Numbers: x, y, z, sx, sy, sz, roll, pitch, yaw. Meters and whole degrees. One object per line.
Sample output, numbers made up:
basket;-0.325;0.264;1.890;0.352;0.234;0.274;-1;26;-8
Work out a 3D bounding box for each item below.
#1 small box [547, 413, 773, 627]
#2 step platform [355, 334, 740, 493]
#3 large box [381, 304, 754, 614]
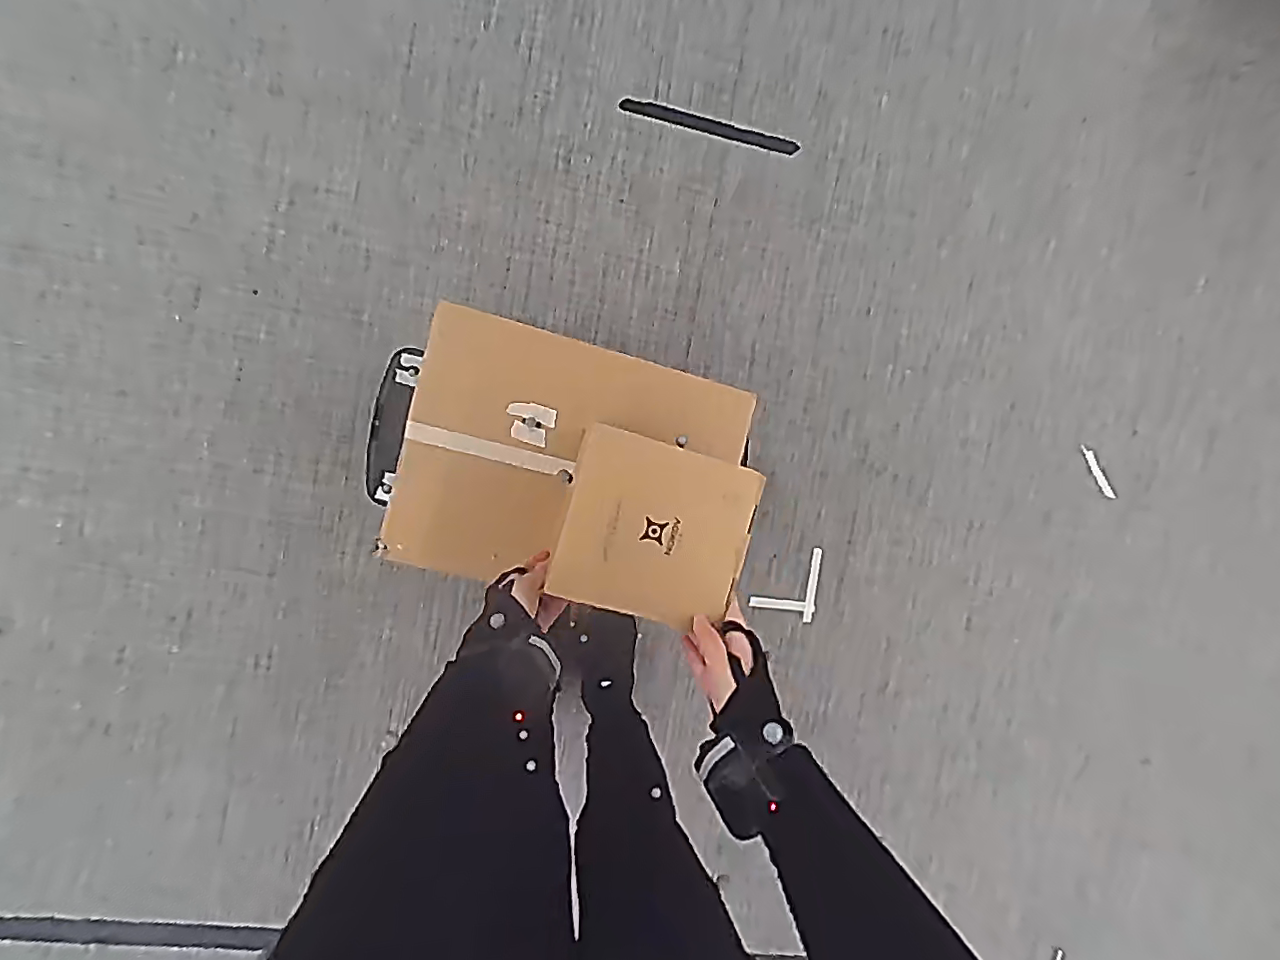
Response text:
small box;0.010;0.034;0.578;0.179;0.176;0.168;17;91;-9
step platform;-0.157;-0.041;1.037;0.684;0.204;0.286;17;91;-8
large box;-0.097;-0.023;0.806;0.408;0.320;0.320;14;91;-8
